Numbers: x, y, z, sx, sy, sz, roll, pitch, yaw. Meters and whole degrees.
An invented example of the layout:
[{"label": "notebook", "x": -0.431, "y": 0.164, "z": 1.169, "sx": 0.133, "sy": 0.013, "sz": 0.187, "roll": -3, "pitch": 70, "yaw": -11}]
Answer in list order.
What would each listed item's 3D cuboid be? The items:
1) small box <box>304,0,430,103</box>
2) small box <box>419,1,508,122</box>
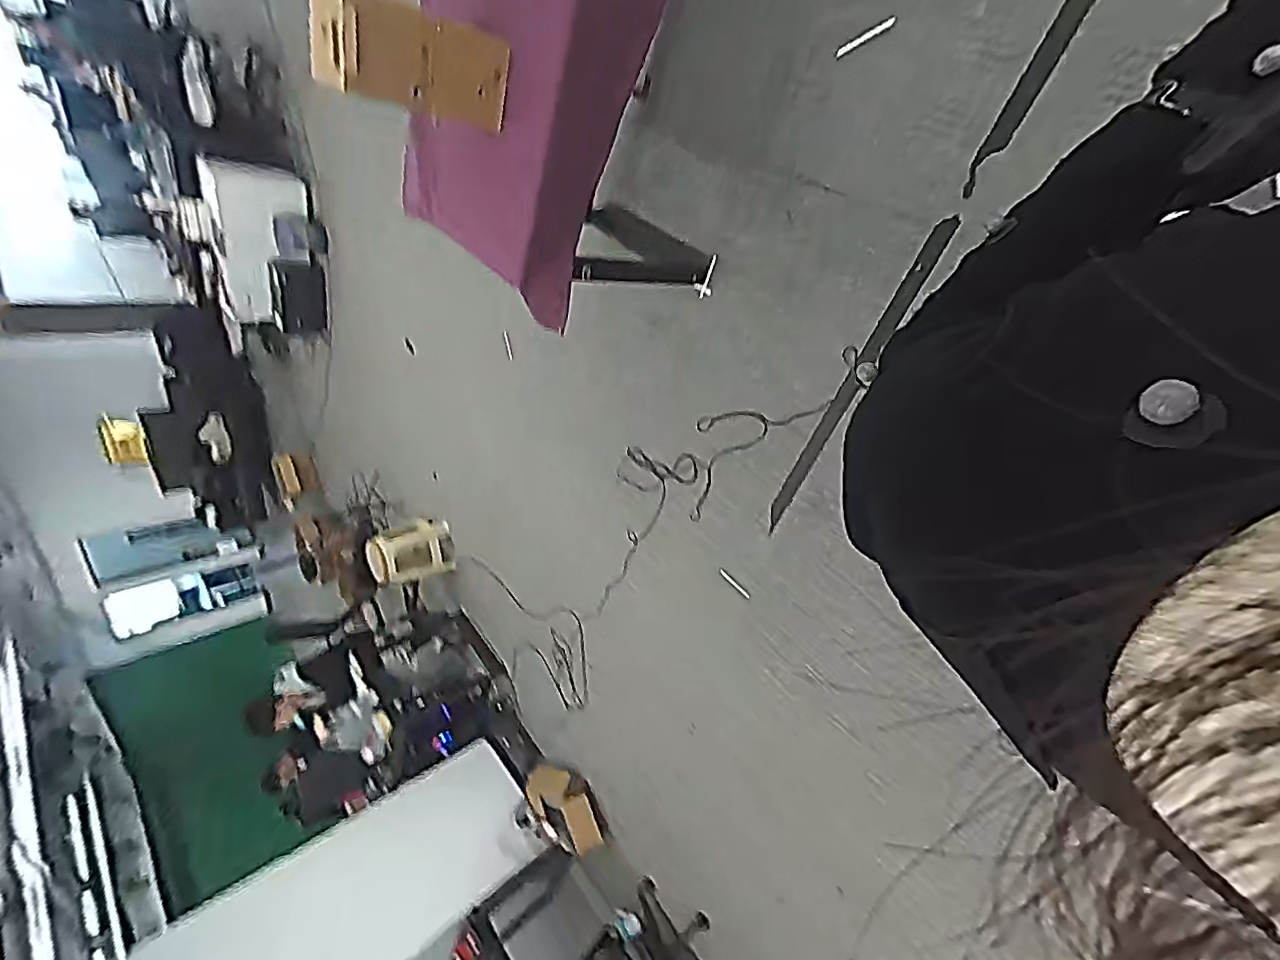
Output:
[{"label": "small box", "x": -0.526, "y": -0.857, "z": 1.048, "sx": 0.179, "sy": 0.176, "sz": 0.168, "roll": 40, "pitch": 128, "yaw": 29}, {"label": "small box", "x": -0.411, "y": -0.895, "z": 1.159, "sx": 0.179, "sy": 0.176, "sz": 0.168, "roll": 41, "pitch": 129, "yaw": 28}]
